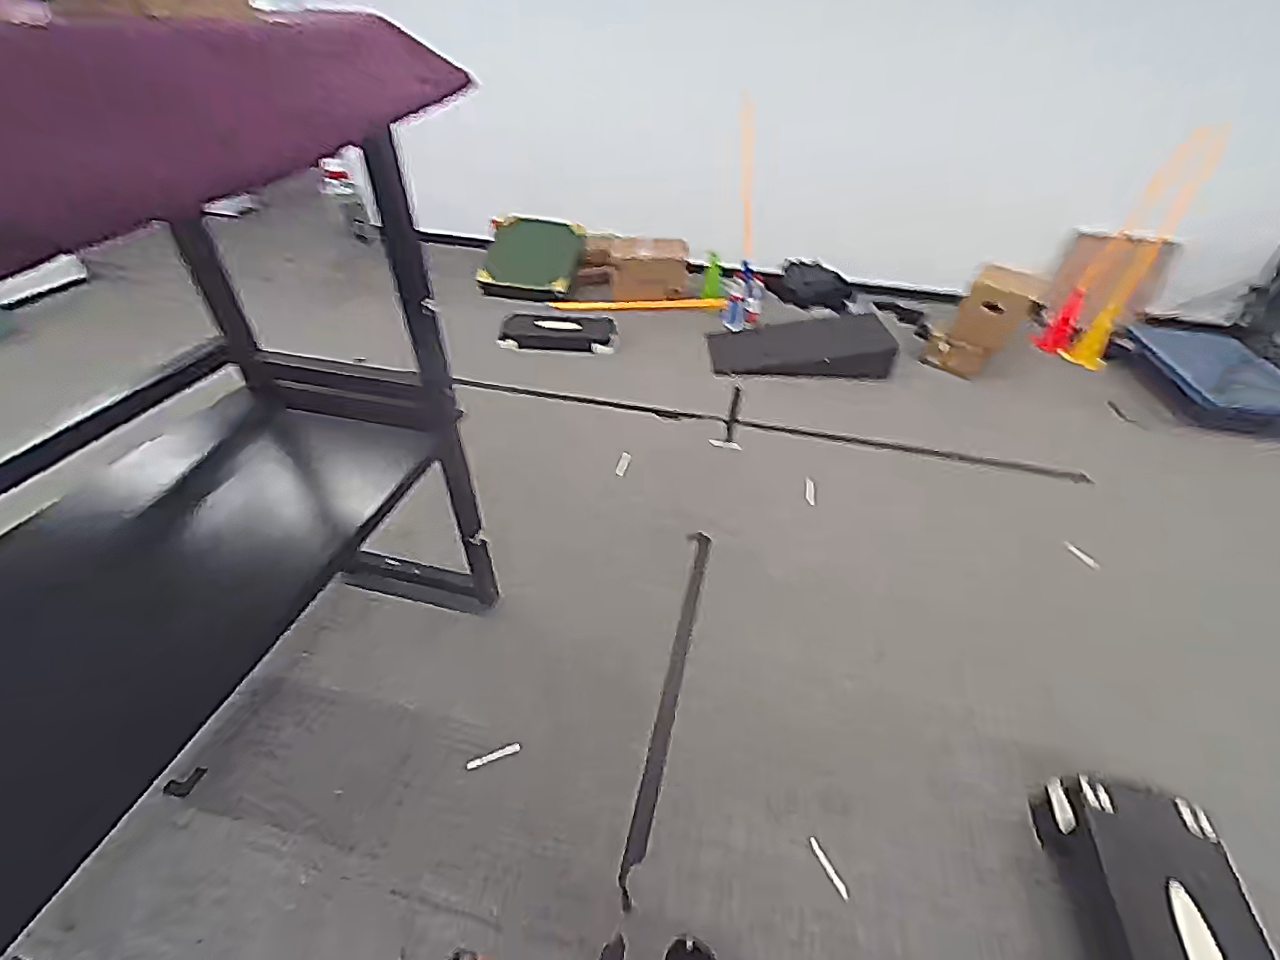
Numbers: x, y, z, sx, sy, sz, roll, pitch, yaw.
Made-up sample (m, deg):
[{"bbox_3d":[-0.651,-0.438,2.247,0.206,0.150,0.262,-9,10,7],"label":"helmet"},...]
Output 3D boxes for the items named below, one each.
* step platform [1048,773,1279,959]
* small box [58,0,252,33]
[{"bbox_3d":[1.065,0.965,1.060,0.286,0.204,0.684,14,41,14],"label":"step platform"},{"bbox_3d":[-0.645,-0.687,0.692,0.168,0.176,0.179,11,41,12],"label":"small box"}]
